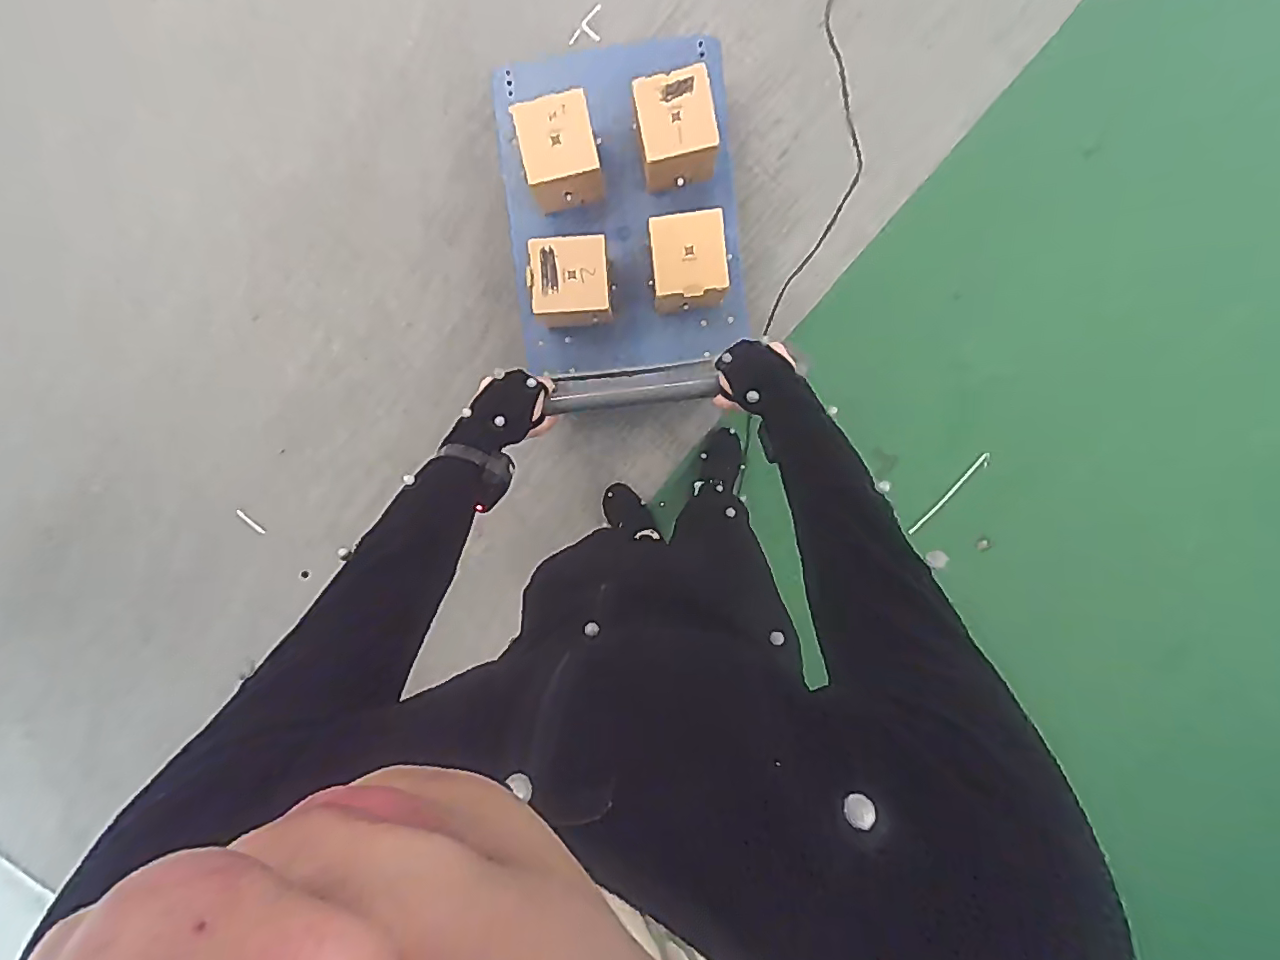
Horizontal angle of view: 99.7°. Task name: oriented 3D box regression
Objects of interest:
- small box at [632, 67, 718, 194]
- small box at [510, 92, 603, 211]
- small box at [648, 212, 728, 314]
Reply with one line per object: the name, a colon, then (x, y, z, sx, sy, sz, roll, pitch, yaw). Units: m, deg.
small box: (0.077, -0.801, 1.256, 0.168, 0.176, 0.179, -12, 96, 3)
small box: (-0.188, -0.755, 1.266, 0.168, 0.176, 0.179, -12, 95, 2)
small box: (0.109, -0.508, 1.286, 0.168, 0.176, 0.179, -7, 96, 2)
